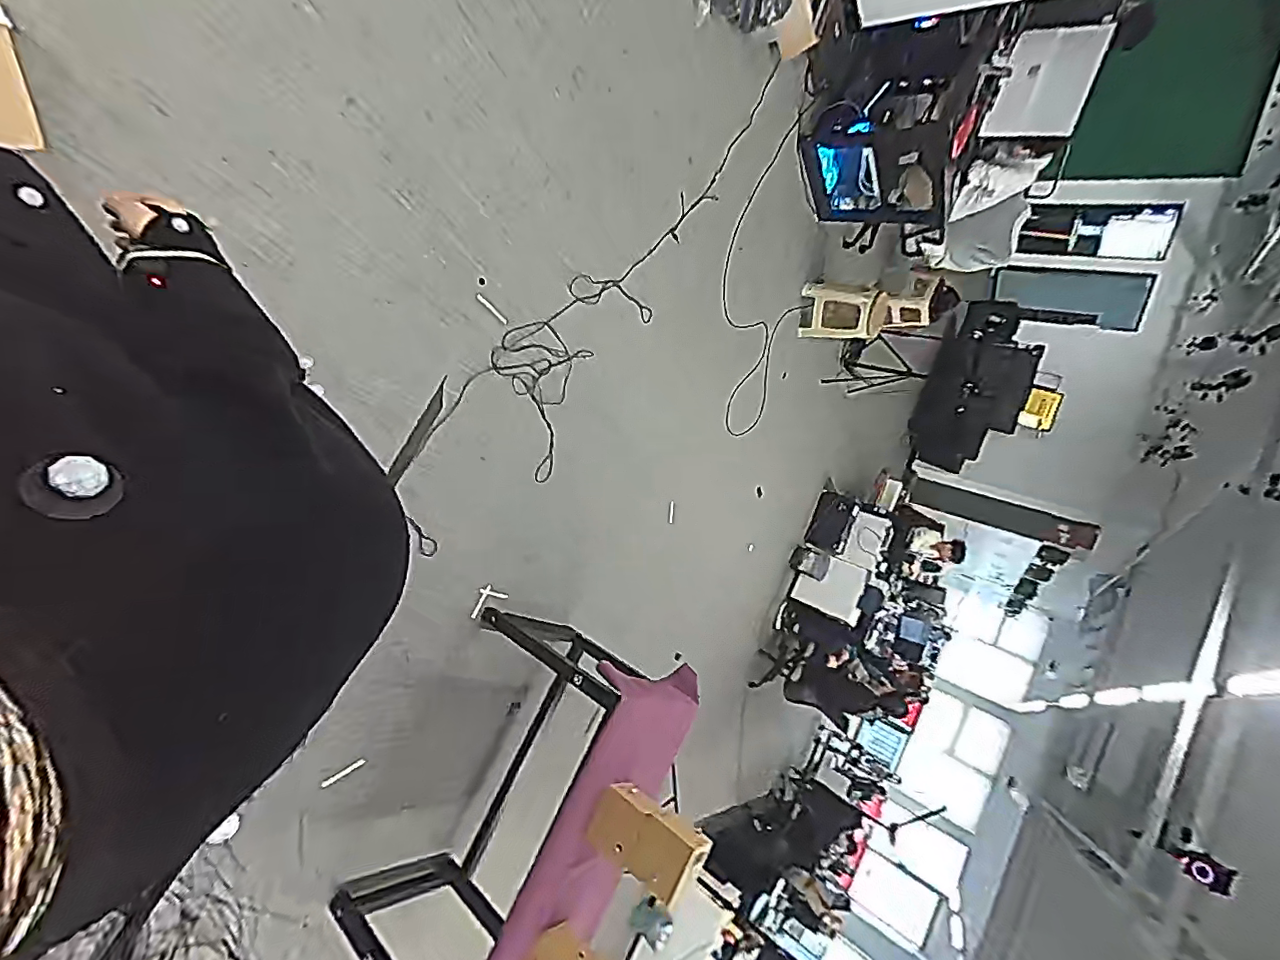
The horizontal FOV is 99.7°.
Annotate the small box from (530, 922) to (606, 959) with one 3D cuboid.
[{"bbox_3d":[-0.243,1.543,1.698,0.168,0.176,0.179,-62,145,-11],"label":"small box"}]

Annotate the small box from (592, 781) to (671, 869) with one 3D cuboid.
[{"bbox_3d":[-0.032,1.121,1.768,0.179,0.176,0.168,-62,146,-11],"label":"small box"}]
